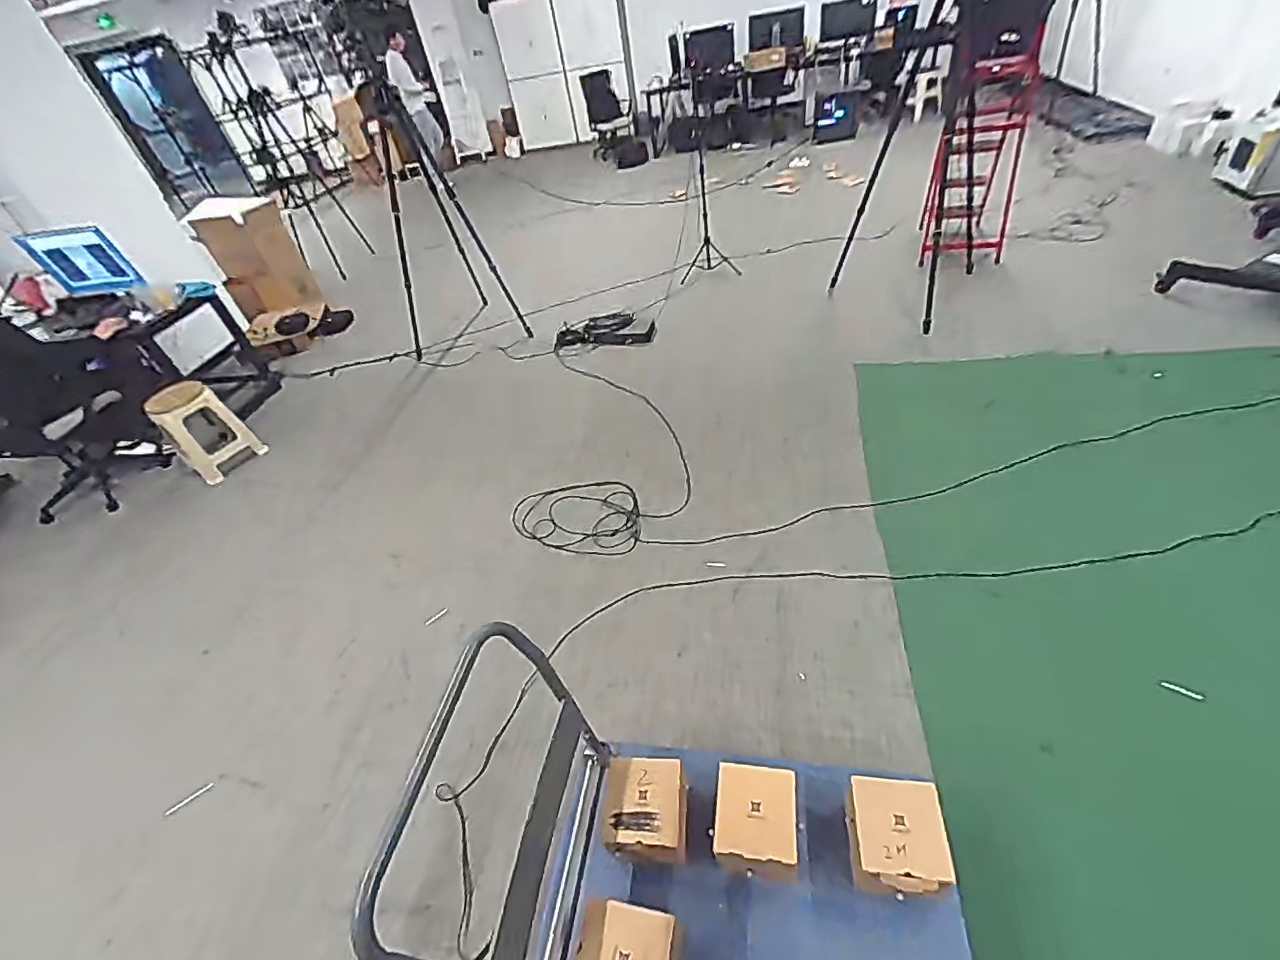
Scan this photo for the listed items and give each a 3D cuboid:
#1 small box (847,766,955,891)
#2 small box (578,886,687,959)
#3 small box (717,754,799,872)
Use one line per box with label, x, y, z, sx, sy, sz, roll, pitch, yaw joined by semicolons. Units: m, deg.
small box;0.538;0.733;1.141;0.168;0.176;0.179;-2;43;14
small box;-0.012;0.935;1.063;0.179;0.176;0.168;2;44;15
small box;0.264;0.742;1.206;0.168;0.176;0.179;0;45;14
